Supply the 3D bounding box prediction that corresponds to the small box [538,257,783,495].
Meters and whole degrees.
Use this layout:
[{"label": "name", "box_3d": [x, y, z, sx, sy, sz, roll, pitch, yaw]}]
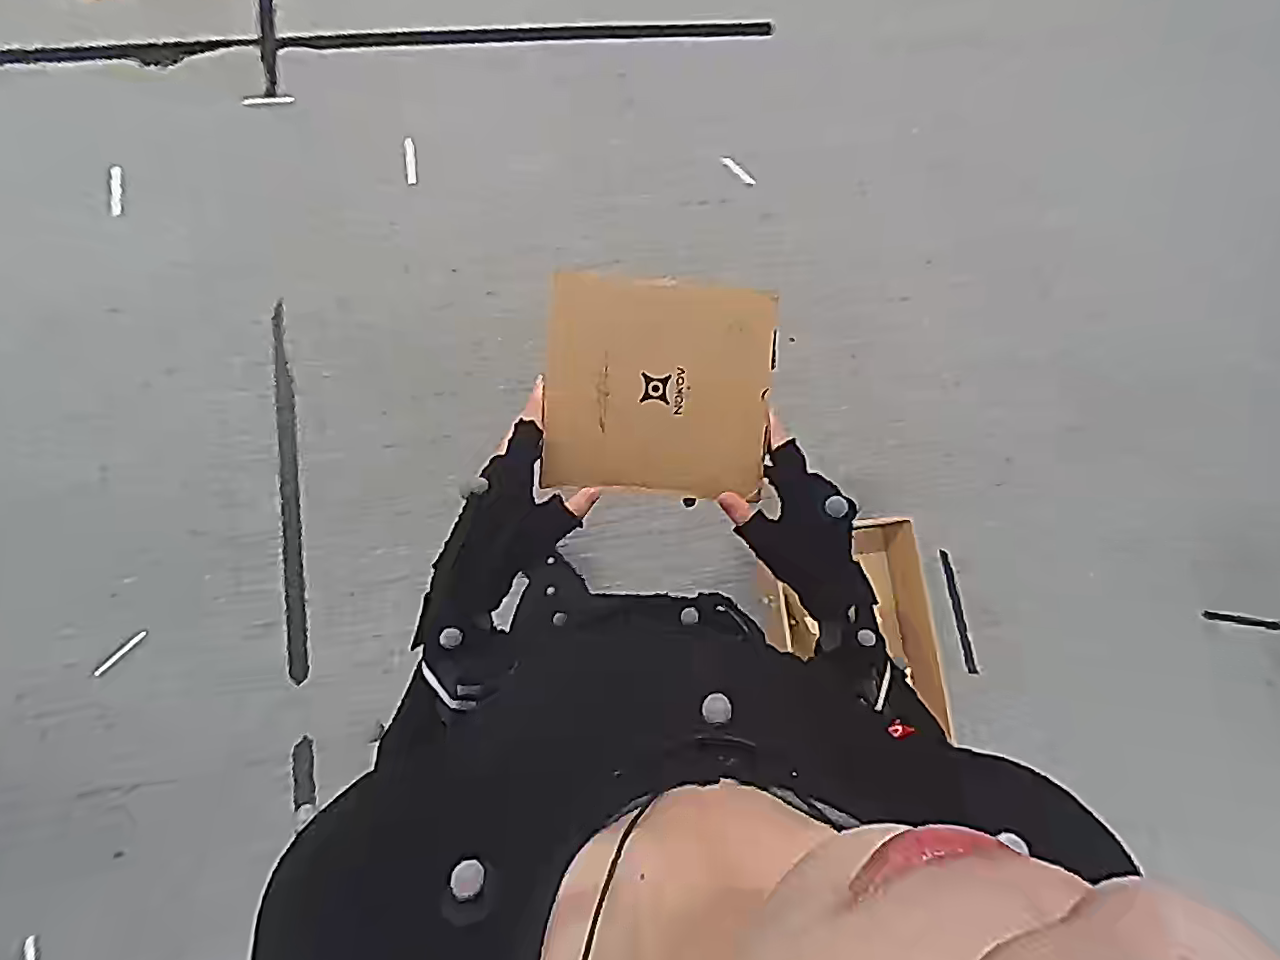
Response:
[{"label": "small box", "box_3d": [0.010, -0.079, 0.477, 0.179, 0.176, 0.168, 3, 93, -4]}]
